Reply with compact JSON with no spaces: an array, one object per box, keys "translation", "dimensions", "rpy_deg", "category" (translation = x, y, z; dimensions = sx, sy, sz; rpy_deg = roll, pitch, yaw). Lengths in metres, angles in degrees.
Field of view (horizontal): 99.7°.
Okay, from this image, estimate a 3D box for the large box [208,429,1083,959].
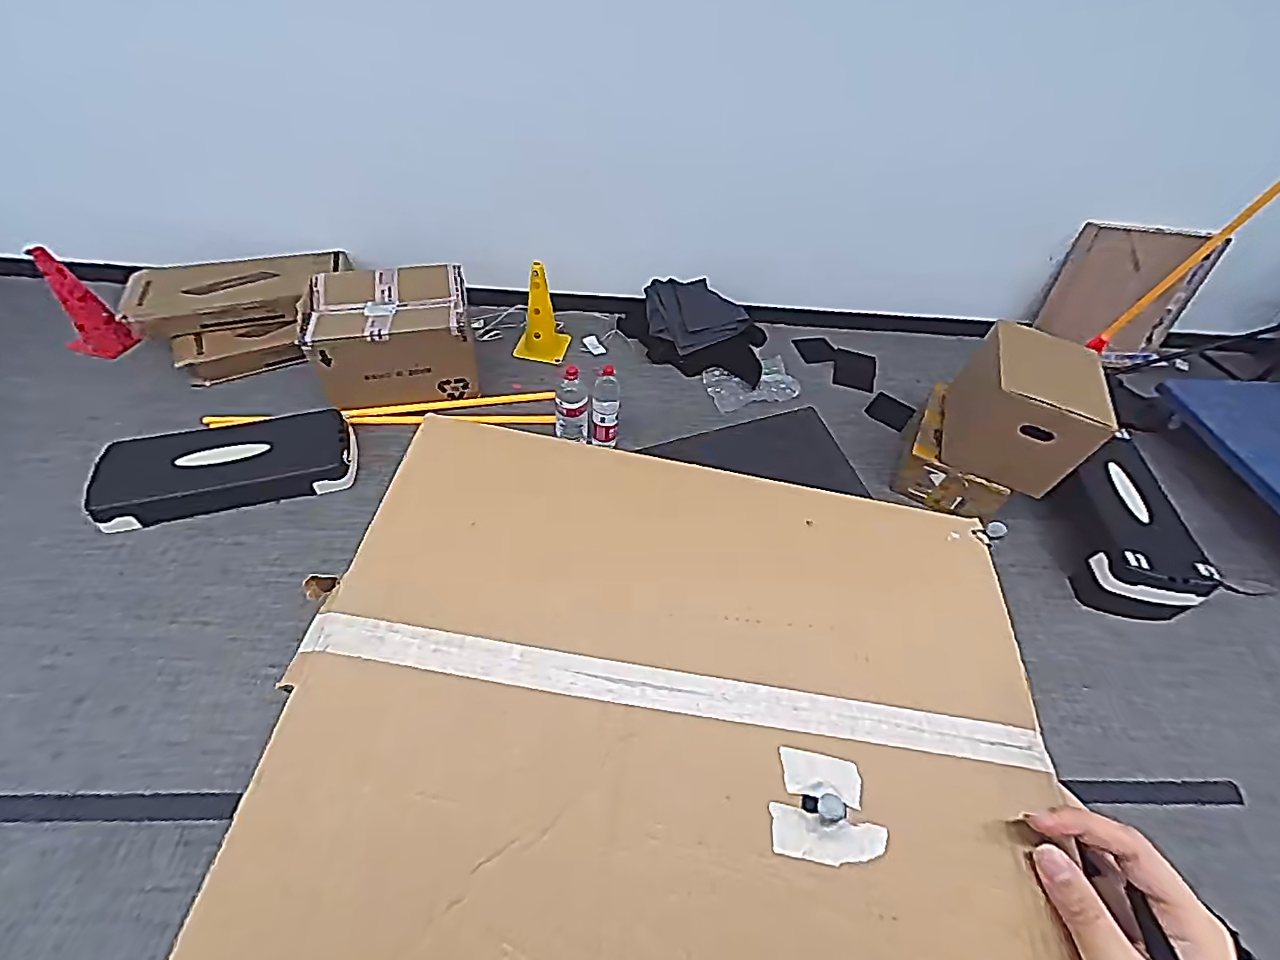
[{"translation":[0.008,0.205,0.428],"dimensions":[0.408,0.320,0.320],"rpy_deg":[12,55,-4],"category":"large box"}]
